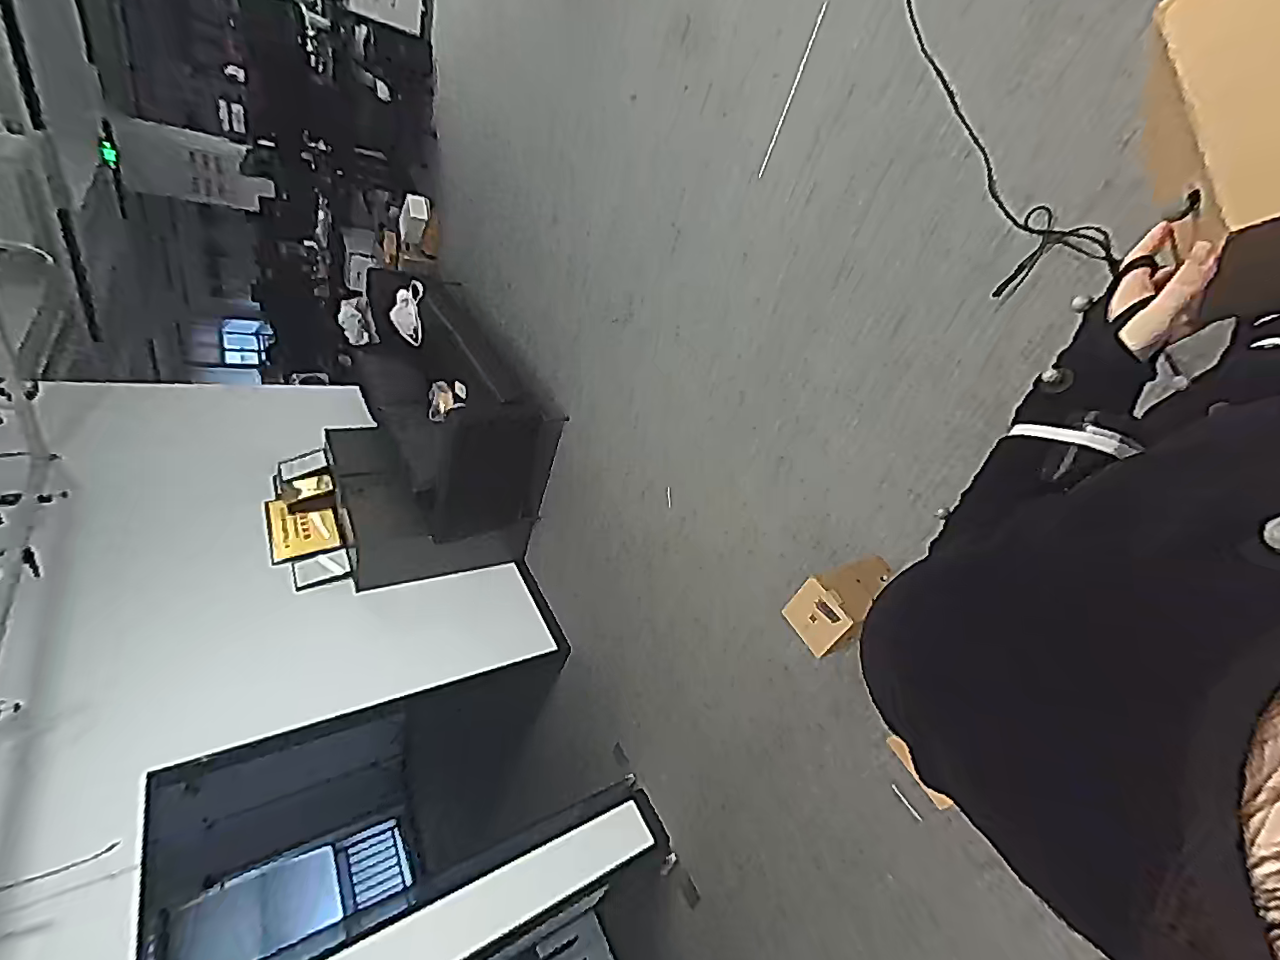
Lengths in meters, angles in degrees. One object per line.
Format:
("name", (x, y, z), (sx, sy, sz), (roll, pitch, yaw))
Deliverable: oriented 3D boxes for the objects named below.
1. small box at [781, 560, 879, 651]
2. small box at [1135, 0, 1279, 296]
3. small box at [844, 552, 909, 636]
("small box", (0.544, 0.351, 1.535), (0.168, 0.176, 0.179), (55, 137, 34))
("small box", (0.458, -0.245, 0.358), (0.168, 0.176, 0.179), (-12, 75, 38))
("small box", (0.676, 0.338, 1.633), (0.168, 0.176, 0.179), (54, 135, 36))
